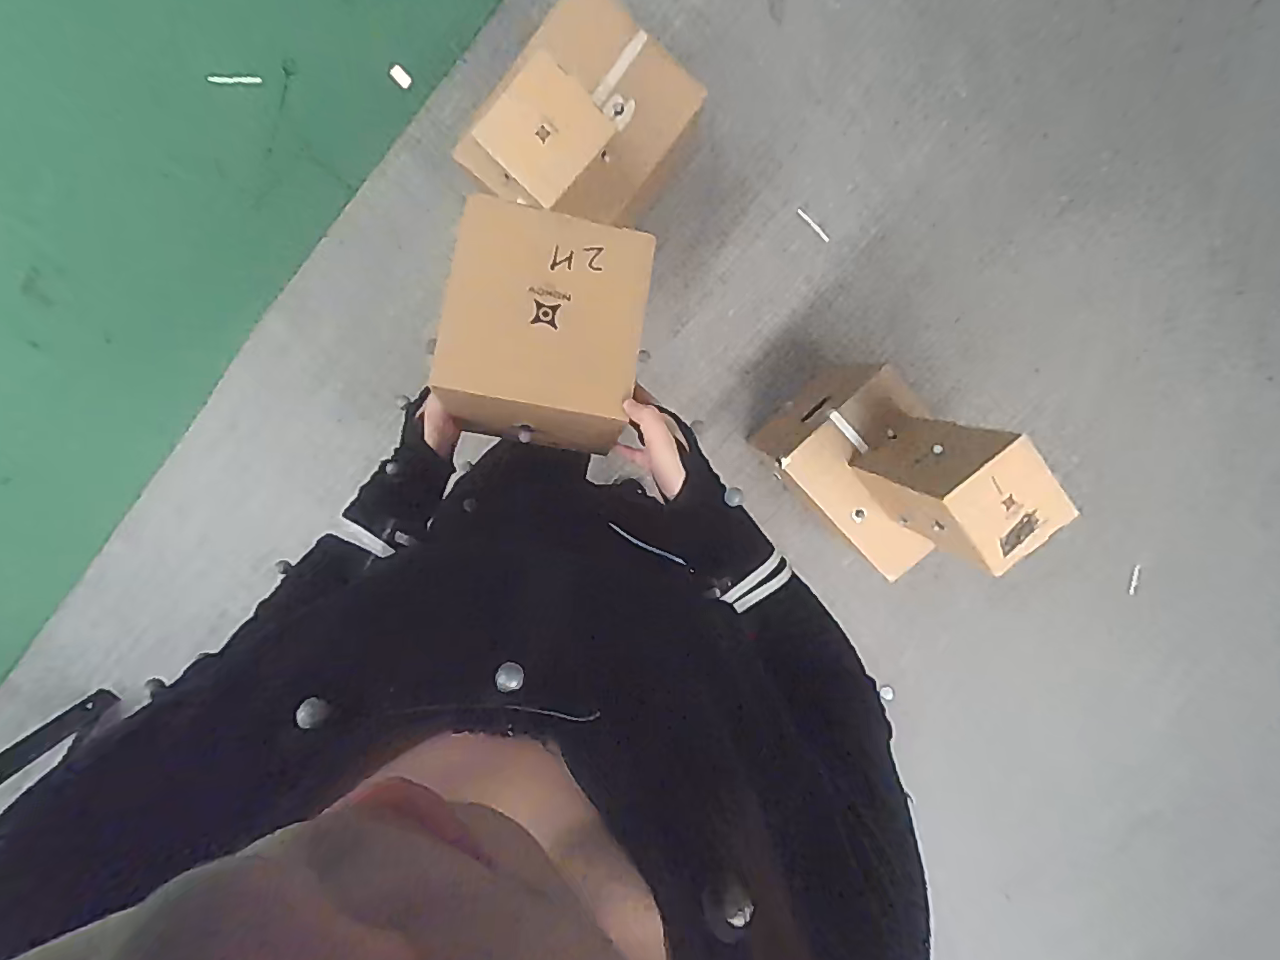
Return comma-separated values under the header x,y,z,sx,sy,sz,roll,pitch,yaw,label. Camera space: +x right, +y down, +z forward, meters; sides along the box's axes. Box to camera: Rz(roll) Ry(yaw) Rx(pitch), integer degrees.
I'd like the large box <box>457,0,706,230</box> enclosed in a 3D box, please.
x,y,z,sx,sy,sz,roll,pitch,yaw,label
-0.119,-0.697,1.172,0.320,0.320,0.408,39,97,-9,large box

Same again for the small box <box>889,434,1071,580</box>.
x,y,z,sx,sy,sz,roll,pitch,yaw,label
0.580,0.037,0.944,0.168,0.176,0.179,-39,100,3,small box

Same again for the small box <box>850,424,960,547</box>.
x,y,z,sx,sy,sz,roll,pitch,yaw,label
0.570,0.001,1.104,0.168,0.176,0.179,-40,101,4,small box

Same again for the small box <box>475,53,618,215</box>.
x,y,z,sx,sy,sz,roll,pitch,yaw,label
-0.153,-0.571,0.946,0.168,0.176,0.179,43,96,-11,small box

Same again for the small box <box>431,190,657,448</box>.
x,y,z,sx,sy,sz,roll,pitch,yaw,label
-0.090,-0.139,0.537,0.168,0.176,0.179,11,81,-9,small box
